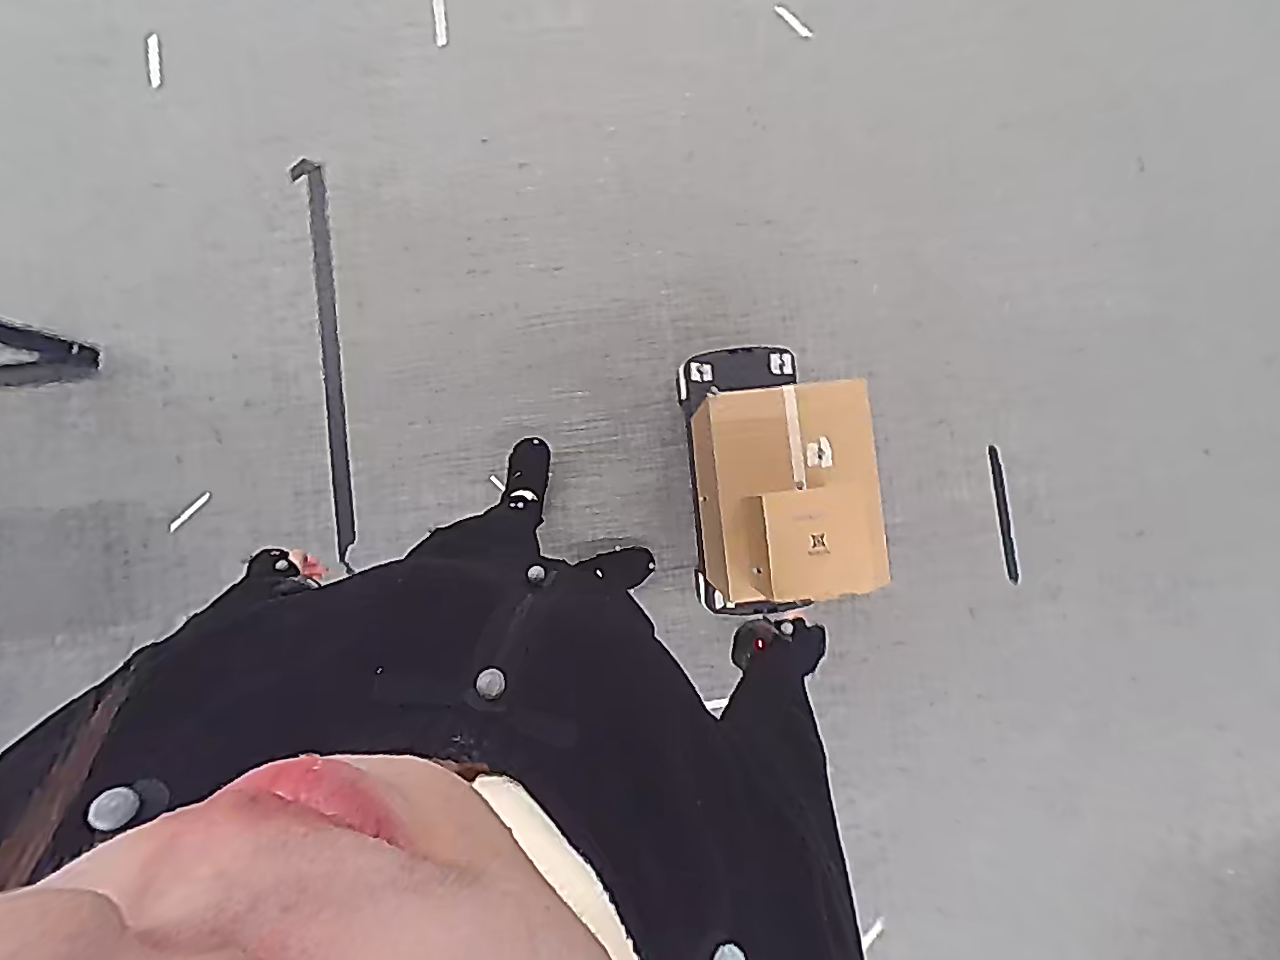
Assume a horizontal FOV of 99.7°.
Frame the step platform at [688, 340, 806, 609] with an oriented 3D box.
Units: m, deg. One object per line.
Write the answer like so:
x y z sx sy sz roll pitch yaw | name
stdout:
0.276 -0.013 1.412 0.286 0.204 0.684 0 87 -1 | step platform

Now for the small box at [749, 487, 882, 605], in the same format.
0.290 0.106 0.923 0.168 0.176 0.179 -5 87 0 | small box

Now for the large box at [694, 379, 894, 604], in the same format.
0.304 0.029 1.173 0.320 0.320 0.408 -6 87 -2 | large box
